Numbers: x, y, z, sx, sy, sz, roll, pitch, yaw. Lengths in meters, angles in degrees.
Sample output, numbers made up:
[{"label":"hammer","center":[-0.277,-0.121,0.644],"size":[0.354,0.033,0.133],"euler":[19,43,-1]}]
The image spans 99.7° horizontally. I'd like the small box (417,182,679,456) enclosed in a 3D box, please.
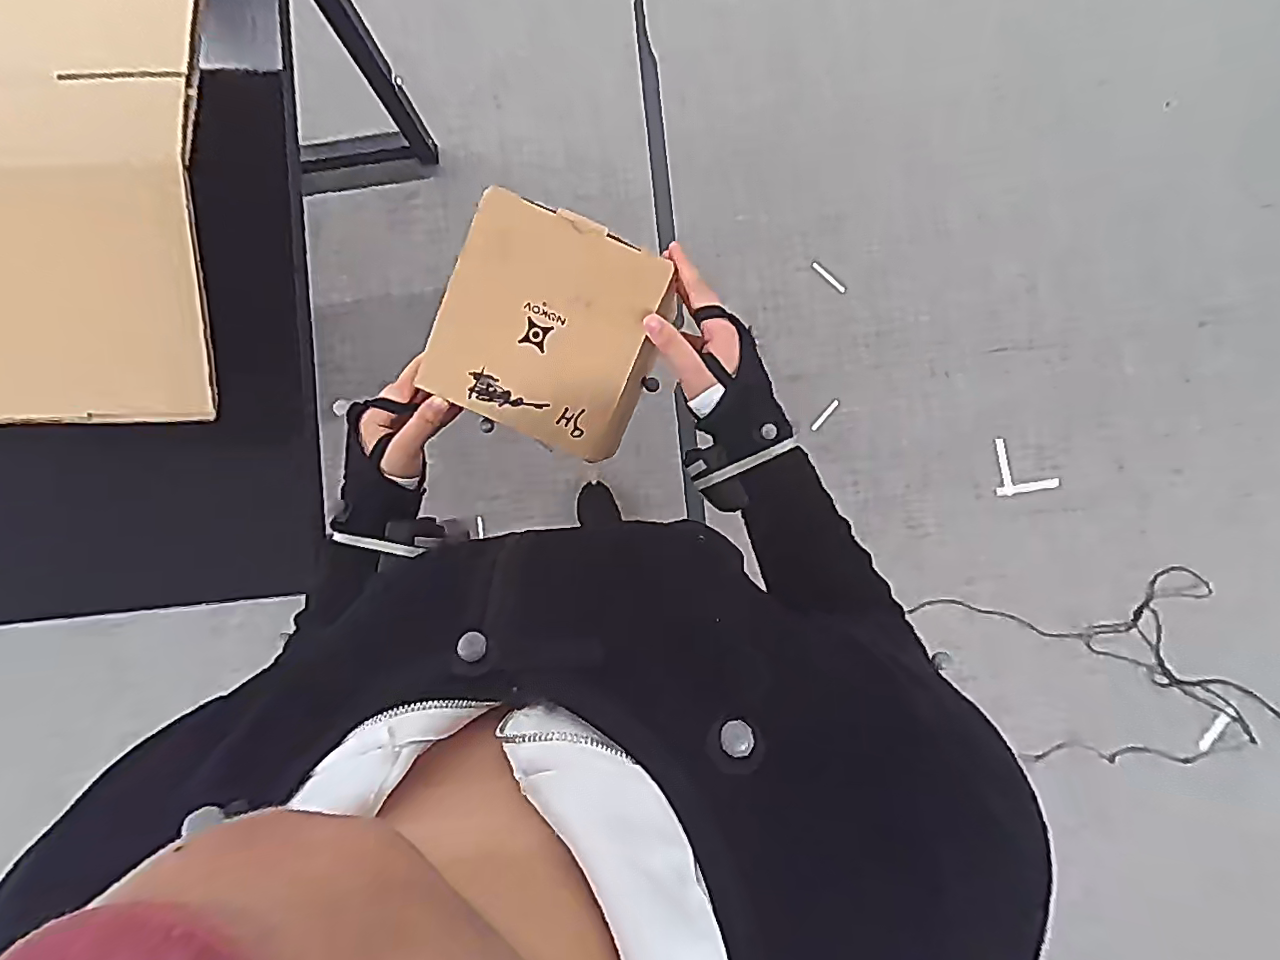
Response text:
[{"label":"small box","center":[-0.074,-0.135,0.519],"size":[0.168,0.176,0.179],"euler":[24,95,2]}]
